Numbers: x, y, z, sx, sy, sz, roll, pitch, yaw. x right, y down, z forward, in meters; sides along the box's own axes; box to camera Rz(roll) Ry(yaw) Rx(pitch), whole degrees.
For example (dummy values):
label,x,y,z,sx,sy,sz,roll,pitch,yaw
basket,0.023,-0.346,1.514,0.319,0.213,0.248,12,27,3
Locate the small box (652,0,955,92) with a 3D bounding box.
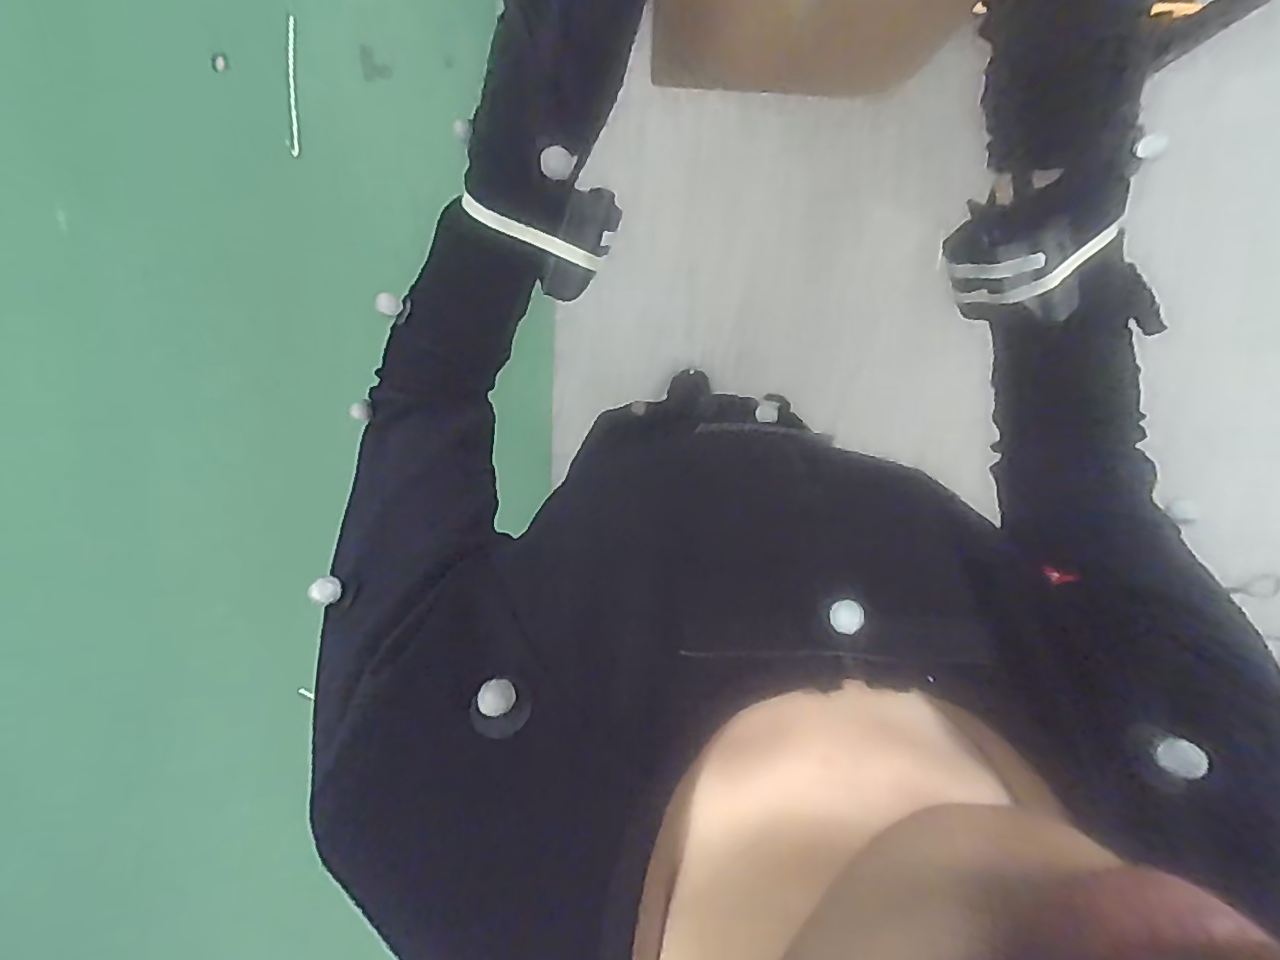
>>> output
label,x,y,z,sx,sy,sz,roll,pitch,yaw
small box,0.098,-0.344,0.291,0.179,0.176,0.168,3,99,-1
